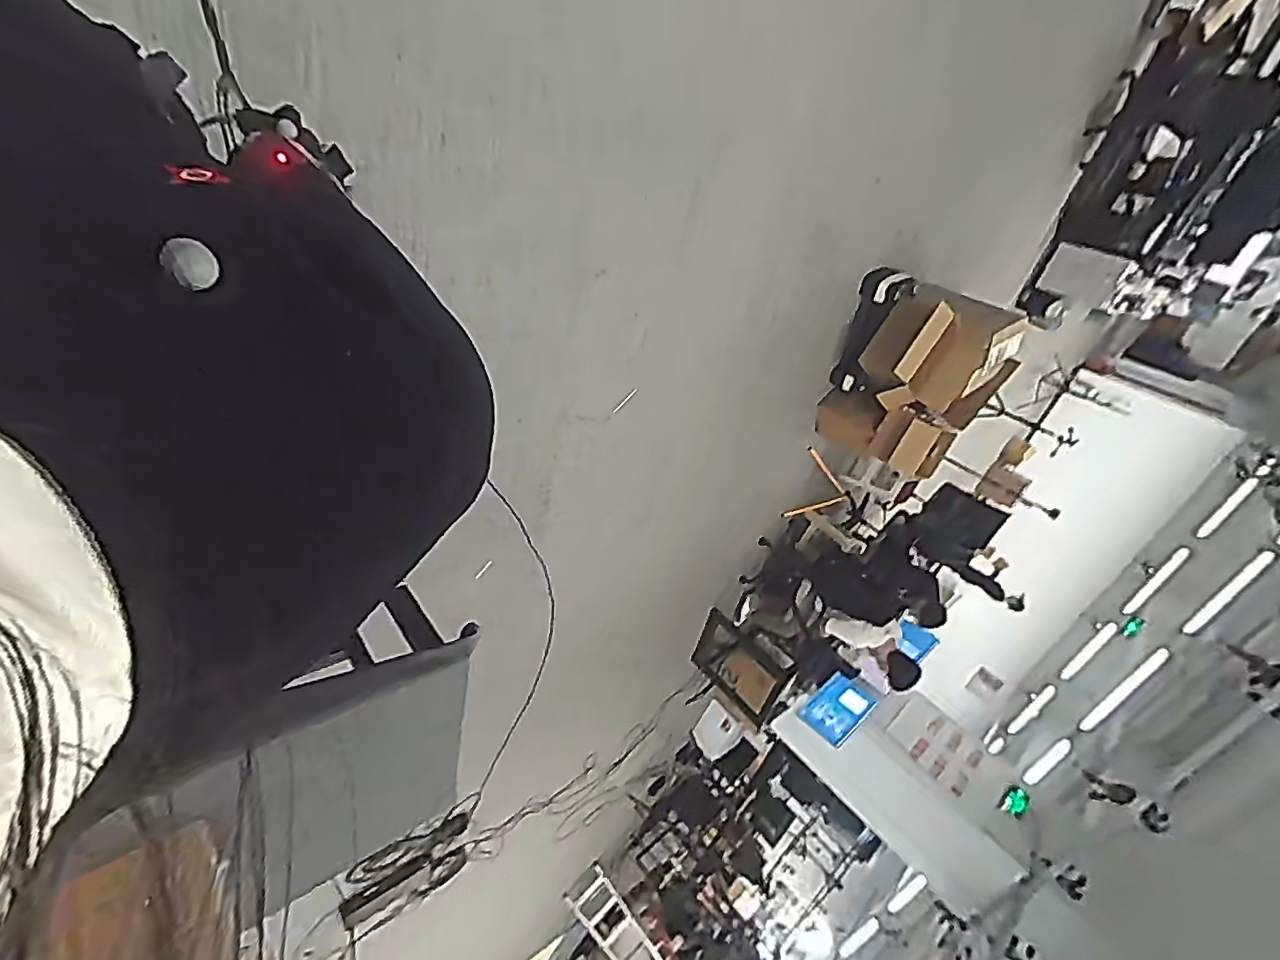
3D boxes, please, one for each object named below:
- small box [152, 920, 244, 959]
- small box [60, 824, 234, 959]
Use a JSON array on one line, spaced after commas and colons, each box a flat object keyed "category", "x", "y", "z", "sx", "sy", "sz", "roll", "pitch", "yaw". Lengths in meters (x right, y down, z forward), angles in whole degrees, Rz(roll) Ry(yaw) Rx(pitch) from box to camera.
[{"category": "small box", "x": -0.659, "y": 0.789, "z": 0.773, "sx": 0.168, "sy": 0.176, "sz": 0.179, "roll": -17, "pitch": 133, "yaw": -41}, {"category": "small box", "x": -0.770, "y": 0.699, "z": 0.854, "sx": 0.179, "sy": 0.176, "sz": 0.168, "roll": -18, "pitch": 135, "yaw": -38}]
